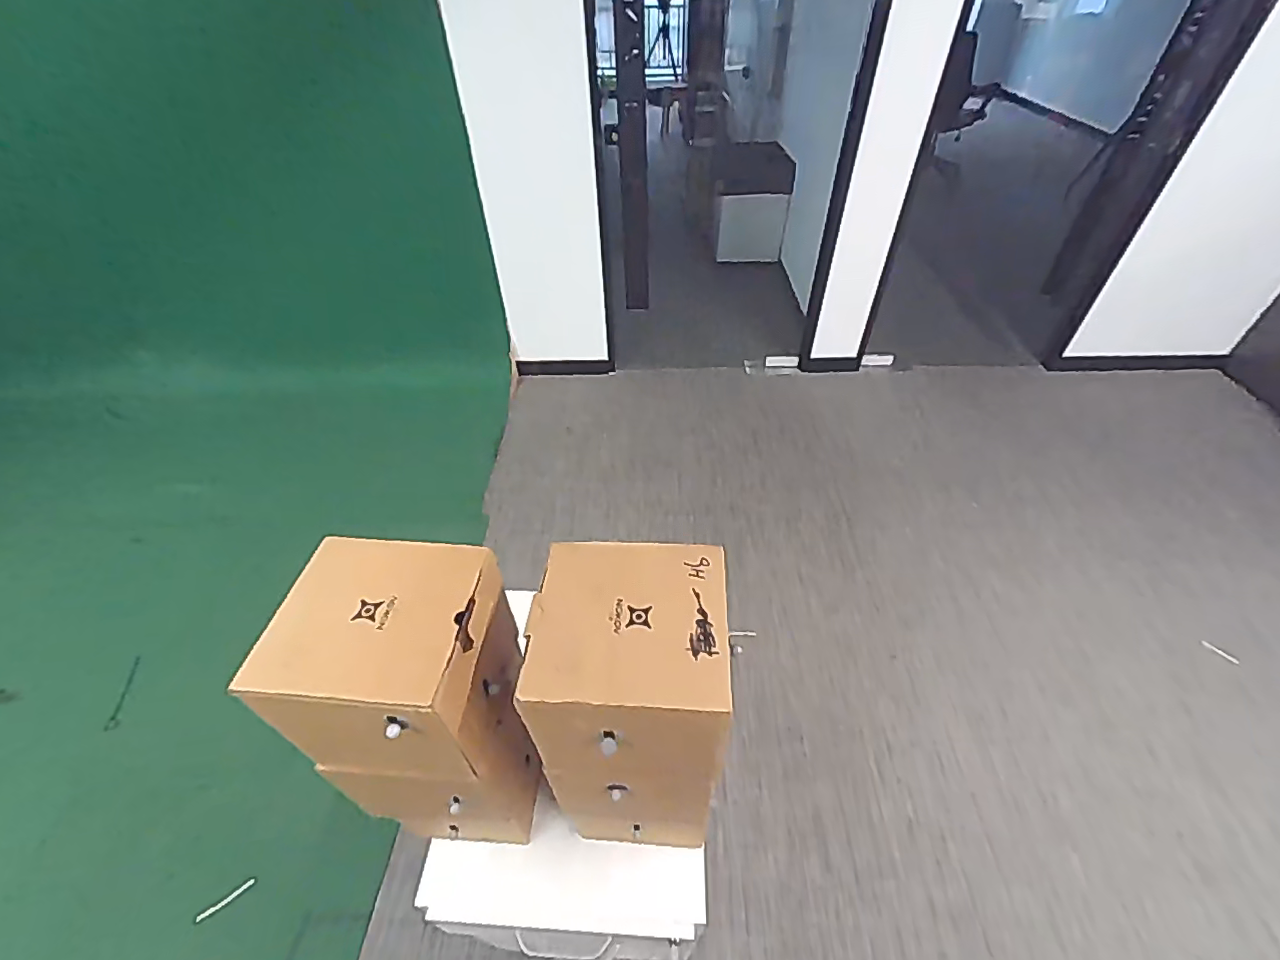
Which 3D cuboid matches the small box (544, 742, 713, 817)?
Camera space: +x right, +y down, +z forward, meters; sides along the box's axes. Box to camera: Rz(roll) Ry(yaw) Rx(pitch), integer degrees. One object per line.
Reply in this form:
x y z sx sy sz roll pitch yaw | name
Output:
-0.002 0.290 0.655 0.179 0.176 0.168 2 45 5 | small box

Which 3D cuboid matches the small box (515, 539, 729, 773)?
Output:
-0.004 0.176 0.539 0.179 0.176 0.168 0 45 5 | small box

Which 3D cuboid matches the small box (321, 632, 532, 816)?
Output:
-0.237 0.293 0.661 0.179 0.176 0.168 1 44 2 | small box

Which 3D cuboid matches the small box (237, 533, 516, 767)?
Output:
-0.240 0.173 0.550 0.179 0.176 0.168 3 44 3 | small box

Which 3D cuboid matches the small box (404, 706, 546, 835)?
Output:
-0.235 0.397 0.787 0.168 0.176 0.179 3 45 2 | small box
